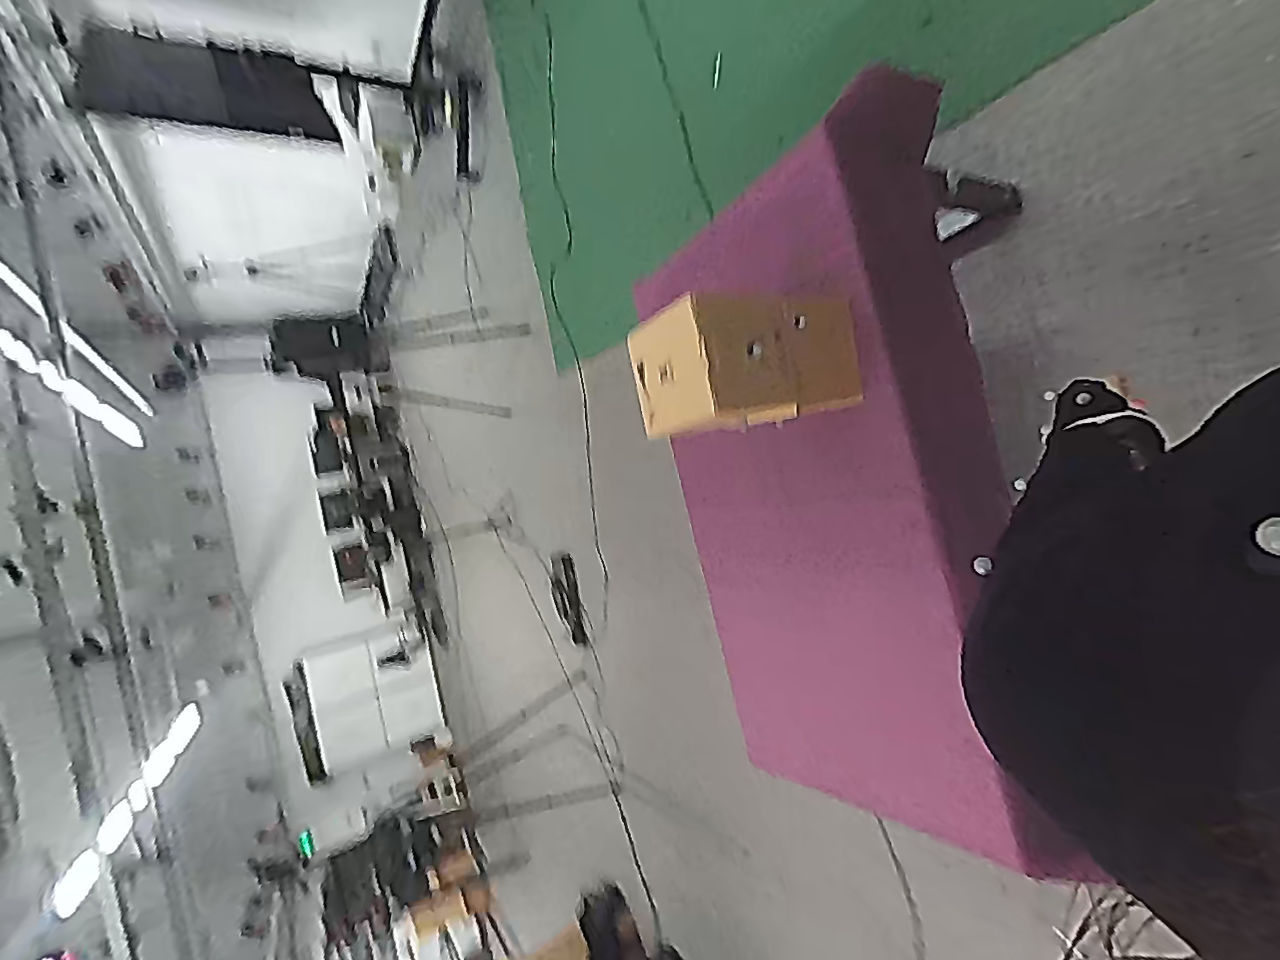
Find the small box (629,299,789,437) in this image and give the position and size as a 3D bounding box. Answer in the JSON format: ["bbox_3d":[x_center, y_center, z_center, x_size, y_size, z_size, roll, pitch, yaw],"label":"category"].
[{"bbox_3d":[0.110,-0.170,0.837,0.179,0.176,0.168,-12,89,57],"label":"small box"}]

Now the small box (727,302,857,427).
[{"bbox_3d":[0.247,-0.196,0.925,0.168,0.176,0.179,-6,95,58],"label":"small box"}]
